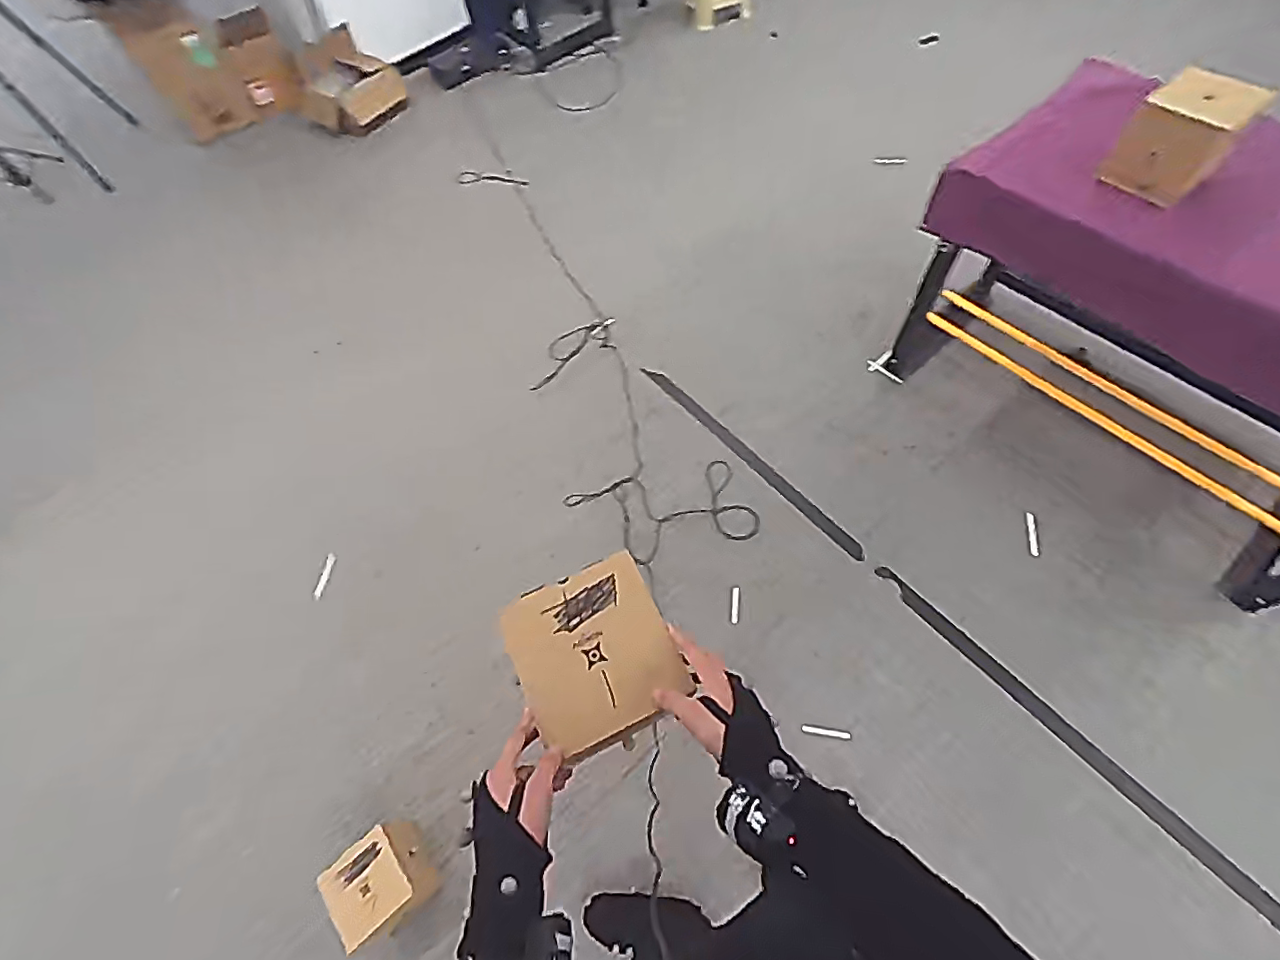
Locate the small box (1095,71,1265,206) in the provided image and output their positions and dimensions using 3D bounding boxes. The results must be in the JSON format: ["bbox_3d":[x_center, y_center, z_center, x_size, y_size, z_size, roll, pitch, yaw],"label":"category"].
[{"bbox_3d":[1.141,-0.728,1.163,0.179,0.176,0.168,-36,64,-13],"label":"small box"}]

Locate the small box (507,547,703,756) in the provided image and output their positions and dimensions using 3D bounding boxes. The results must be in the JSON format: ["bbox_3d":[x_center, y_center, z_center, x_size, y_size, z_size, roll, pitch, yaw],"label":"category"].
[{"bbox_3d":[-0.042,0.212,0.652,0.168,0.176,0.179,-22,65,-10],"label":"small box"}]
